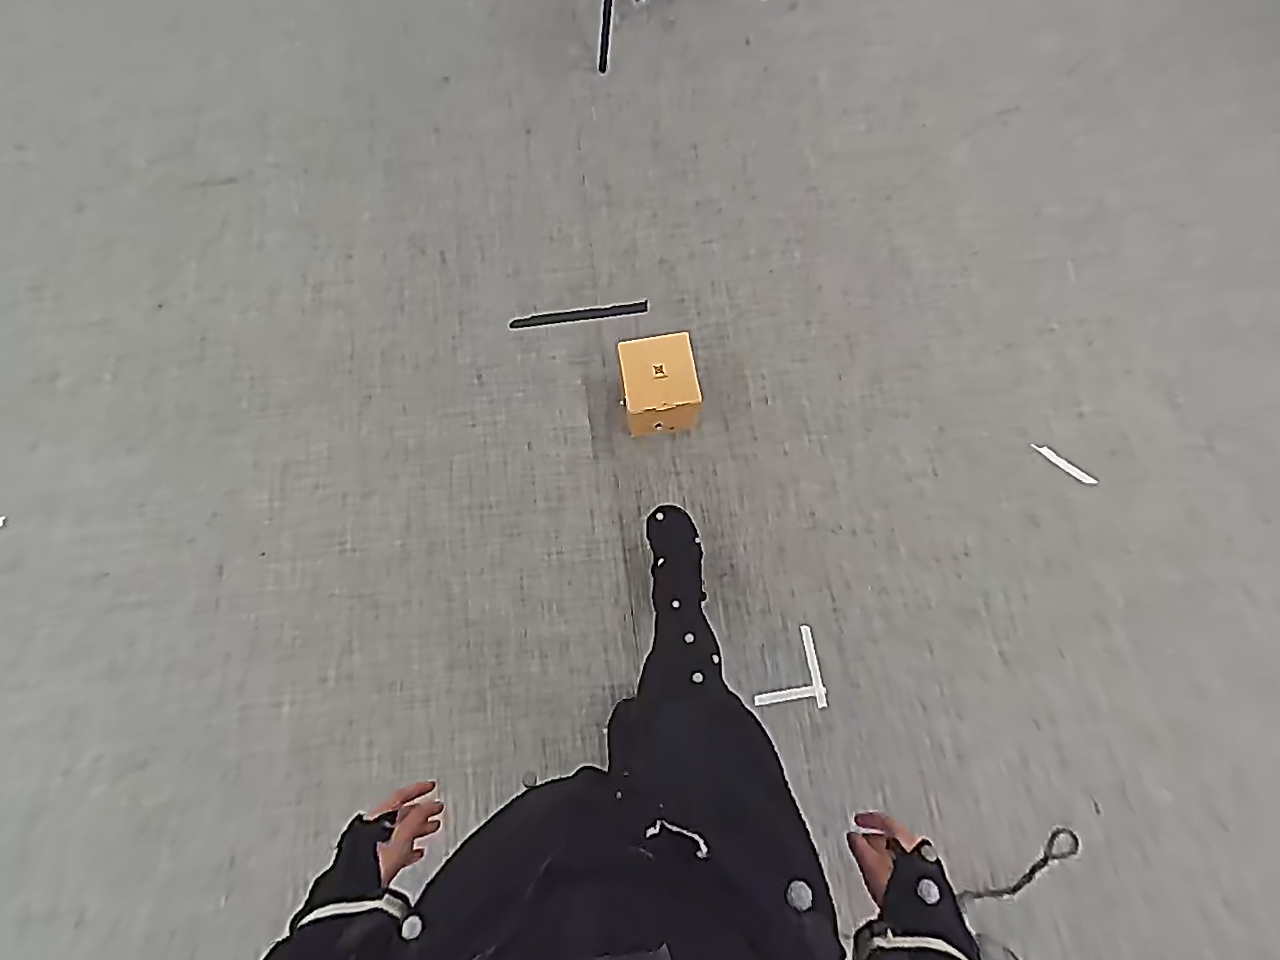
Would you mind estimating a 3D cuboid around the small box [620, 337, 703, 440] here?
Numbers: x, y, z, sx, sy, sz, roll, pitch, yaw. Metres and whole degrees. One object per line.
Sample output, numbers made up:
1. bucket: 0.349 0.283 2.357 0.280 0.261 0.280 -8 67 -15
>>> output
1. small box: 0.045 -0.213 1.282 0.168 0.176 0.179 -9 76 -2
